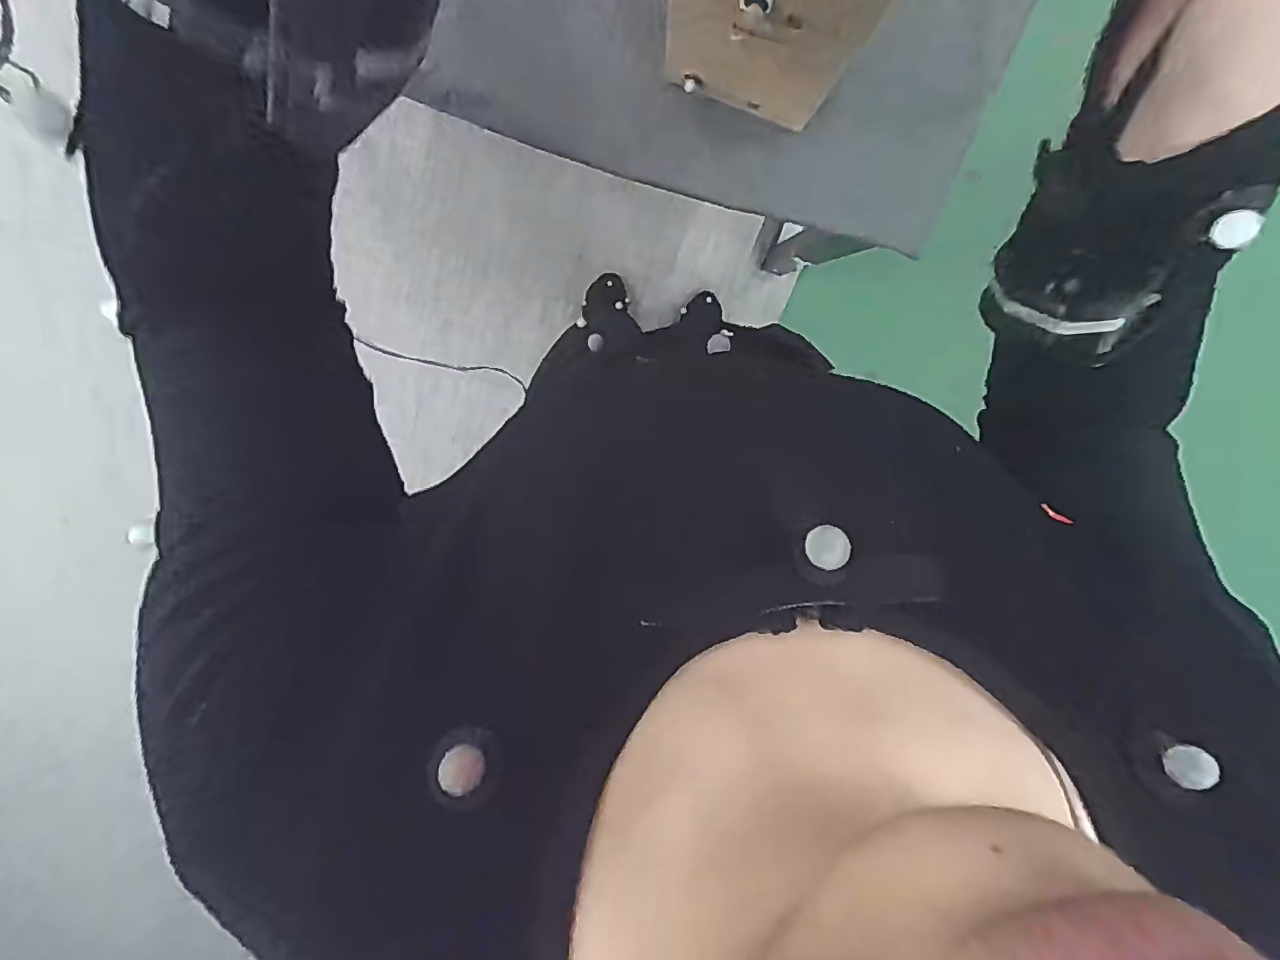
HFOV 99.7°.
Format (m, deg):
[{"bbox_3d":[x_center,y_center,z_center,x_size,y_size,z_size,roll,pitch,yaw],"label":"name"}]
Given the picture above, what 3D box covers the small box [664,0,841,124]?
[{"bbox_3d":[0.128,-0.476,0.506,0.168,0.176,0.179,19,104,-4],"label":"small box"}]
